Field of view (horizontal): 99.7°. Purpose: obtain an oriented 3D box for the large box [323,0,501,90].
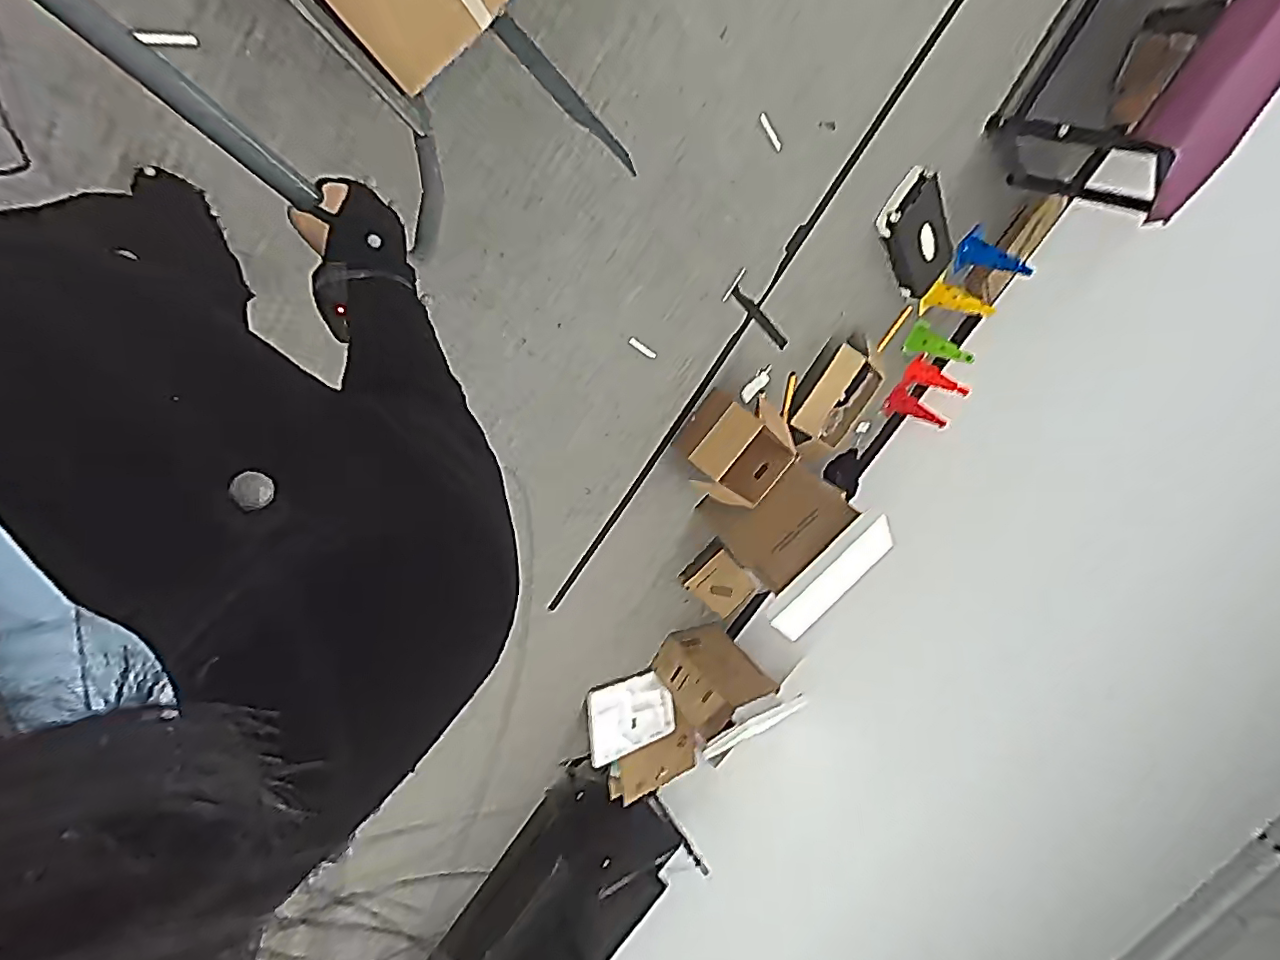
[{"bbox_3d":[-0.382,-0.857,0.714,0.320,0.320,0.408,-33,146,14],"label":"large box"}]
